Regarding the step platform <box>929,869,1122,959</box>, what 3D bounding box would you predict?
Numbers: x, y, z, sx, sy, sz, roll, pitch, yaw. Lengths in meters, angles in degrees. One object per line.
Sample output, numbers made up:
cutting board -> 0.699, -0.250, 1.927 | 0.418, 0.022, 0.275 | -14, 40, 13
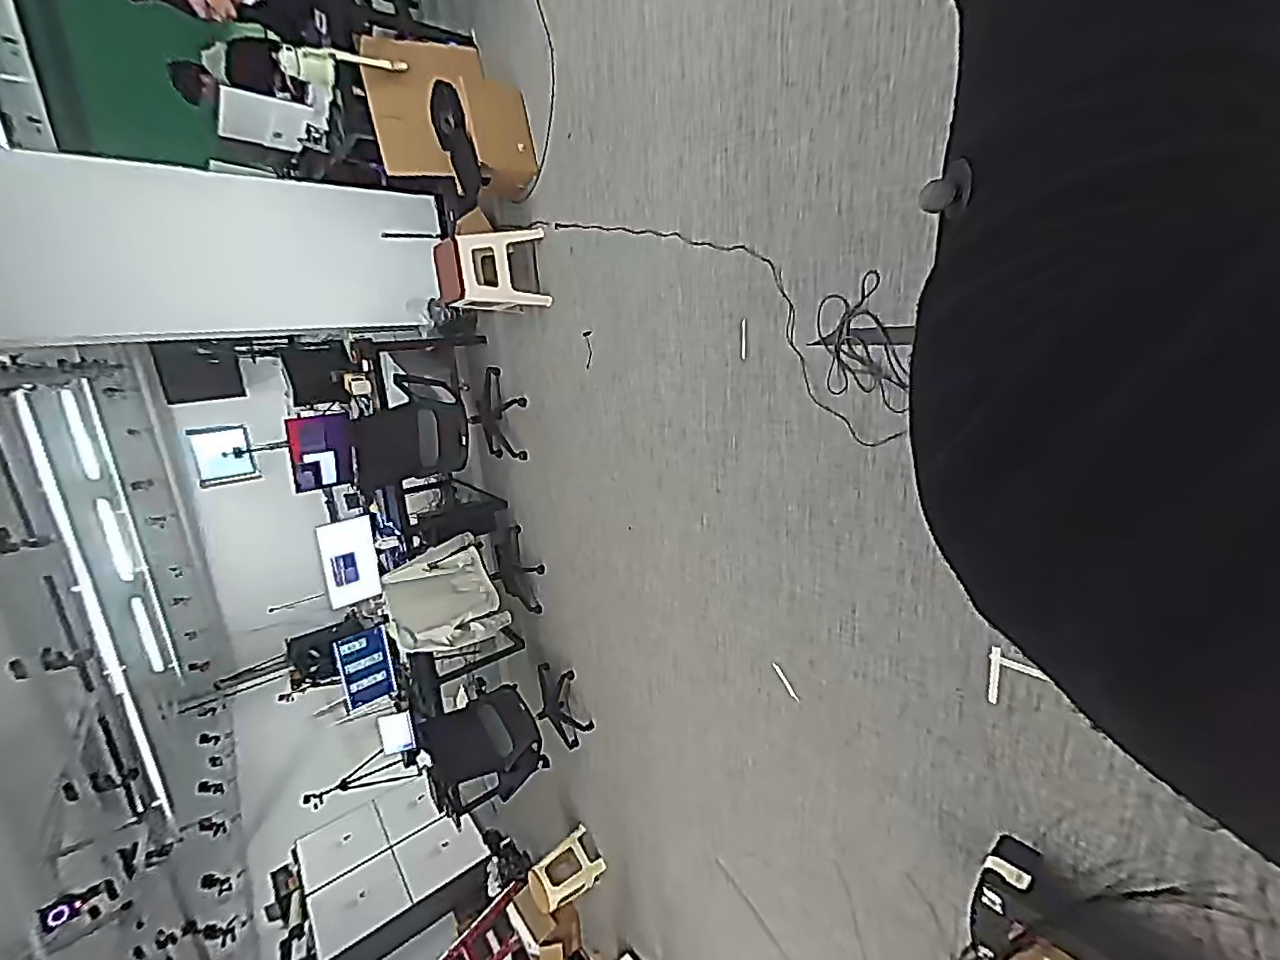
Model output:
step platform -> 1.027, 1.220, 1.181 | 0.684, 0.204, 0.286 | 14, 114, 51
